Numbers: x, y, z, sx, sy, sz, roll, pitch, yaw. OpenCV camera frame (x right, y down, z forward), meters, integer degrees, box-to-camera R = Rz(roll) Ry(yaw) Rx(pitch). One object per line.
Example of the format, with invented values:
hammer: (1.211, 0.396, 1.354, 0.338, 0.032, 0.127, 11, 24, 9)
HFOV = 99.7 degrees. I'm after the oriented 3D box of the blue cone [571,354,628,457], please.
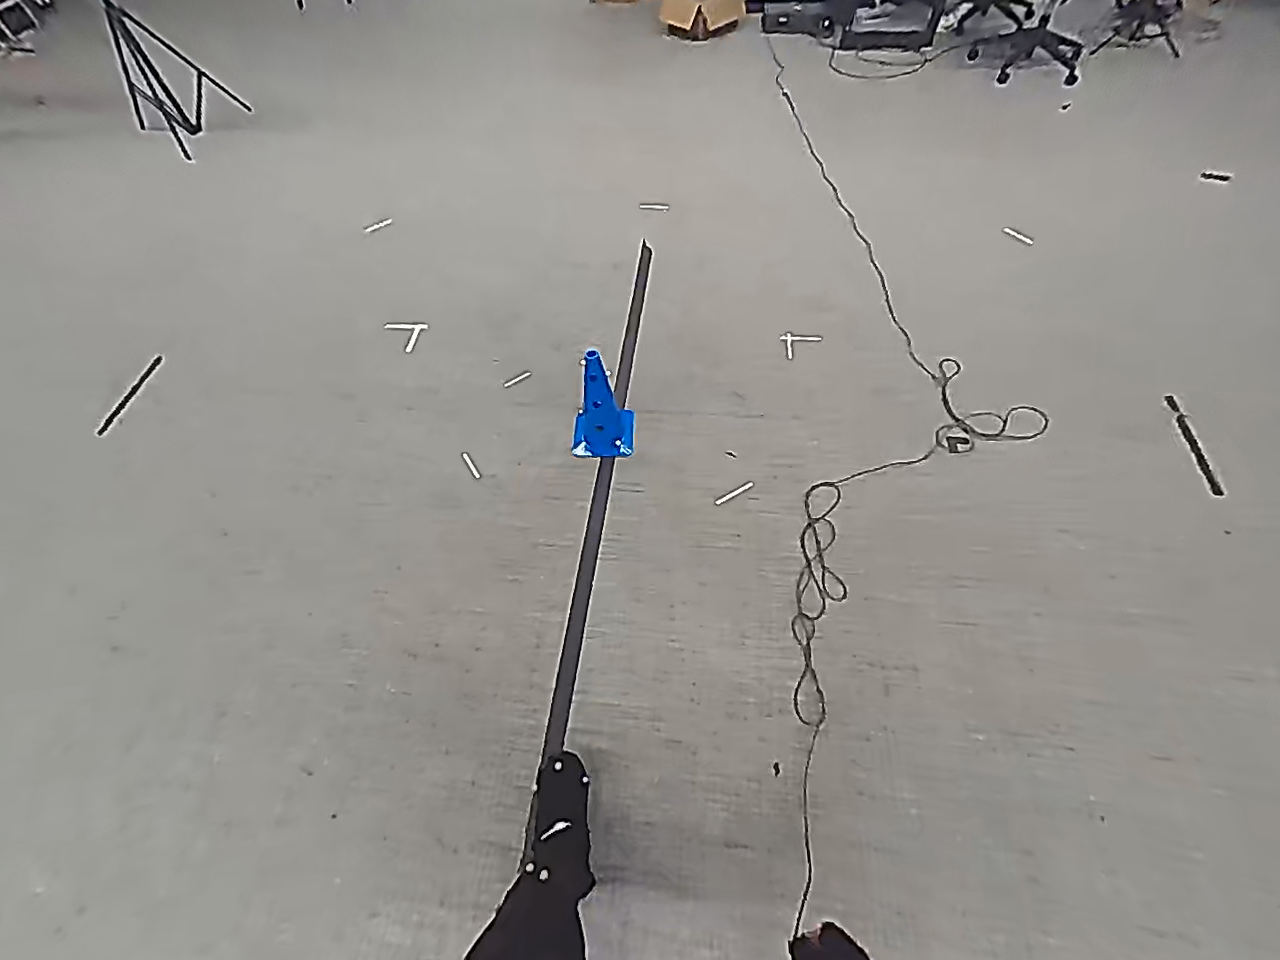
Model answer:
blue cone: (-0.145, -0.246, 1.698, 0.192, 0.380, 0.193, 1, 55, 4)
